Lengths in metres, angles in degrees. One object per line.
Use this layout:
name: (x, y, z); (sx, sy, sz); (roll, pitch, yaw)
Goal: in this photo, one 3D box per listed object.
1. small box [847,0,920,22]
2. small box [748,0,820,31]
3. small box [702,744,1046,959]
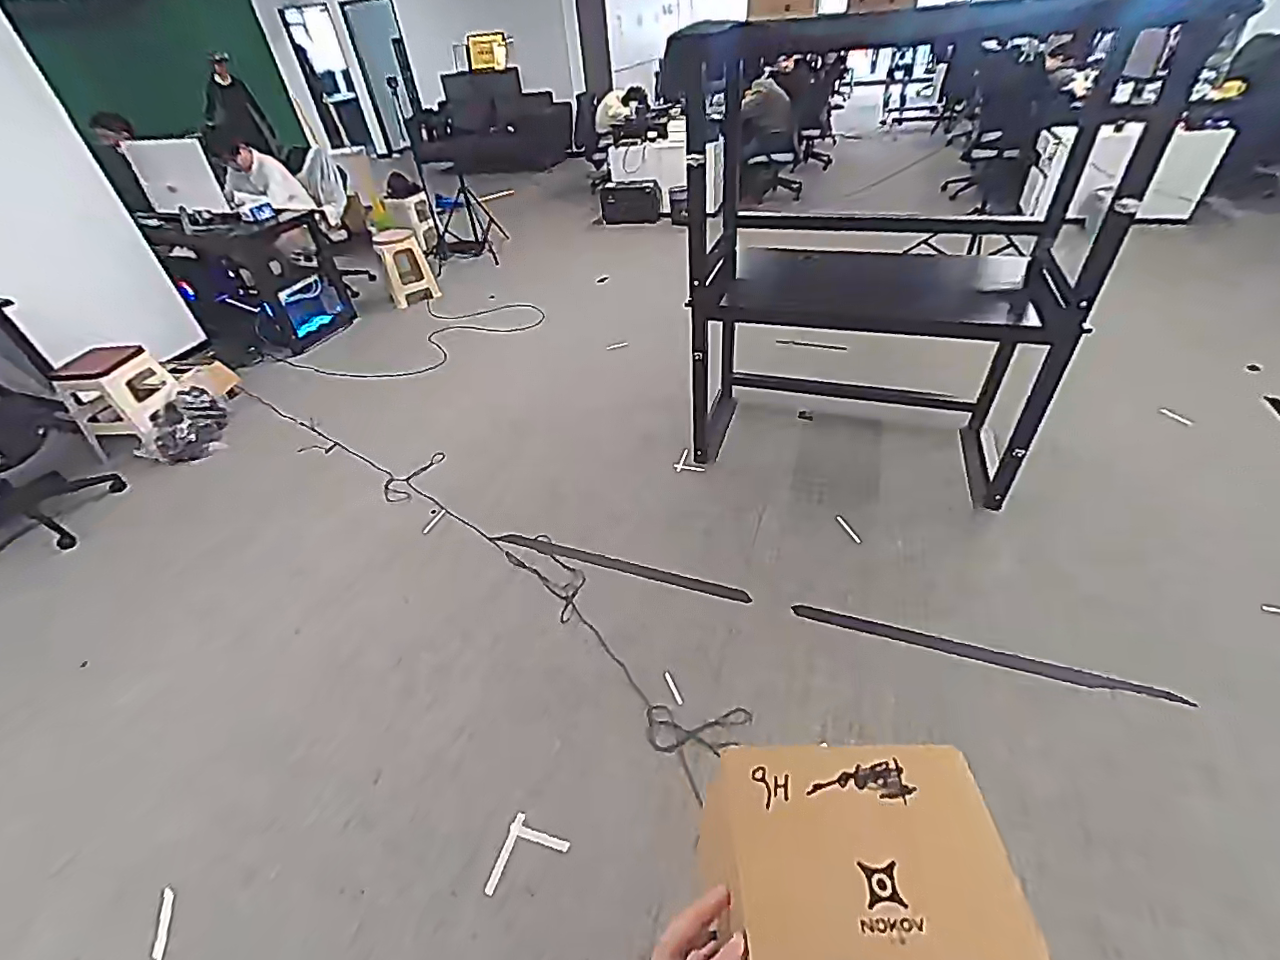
small box: (0.610, -1.245, 1.325); (0.168, 0.176, 0.179); (11, 40, 19)
small box: (0.374, -1.268, 1.382); (0.168, 0.176, 0.179); (10, 40, 17)
small box: (0.136, 0.300, 0.363); (0.168, 0.176, 0.179); (2, 43, -1)
